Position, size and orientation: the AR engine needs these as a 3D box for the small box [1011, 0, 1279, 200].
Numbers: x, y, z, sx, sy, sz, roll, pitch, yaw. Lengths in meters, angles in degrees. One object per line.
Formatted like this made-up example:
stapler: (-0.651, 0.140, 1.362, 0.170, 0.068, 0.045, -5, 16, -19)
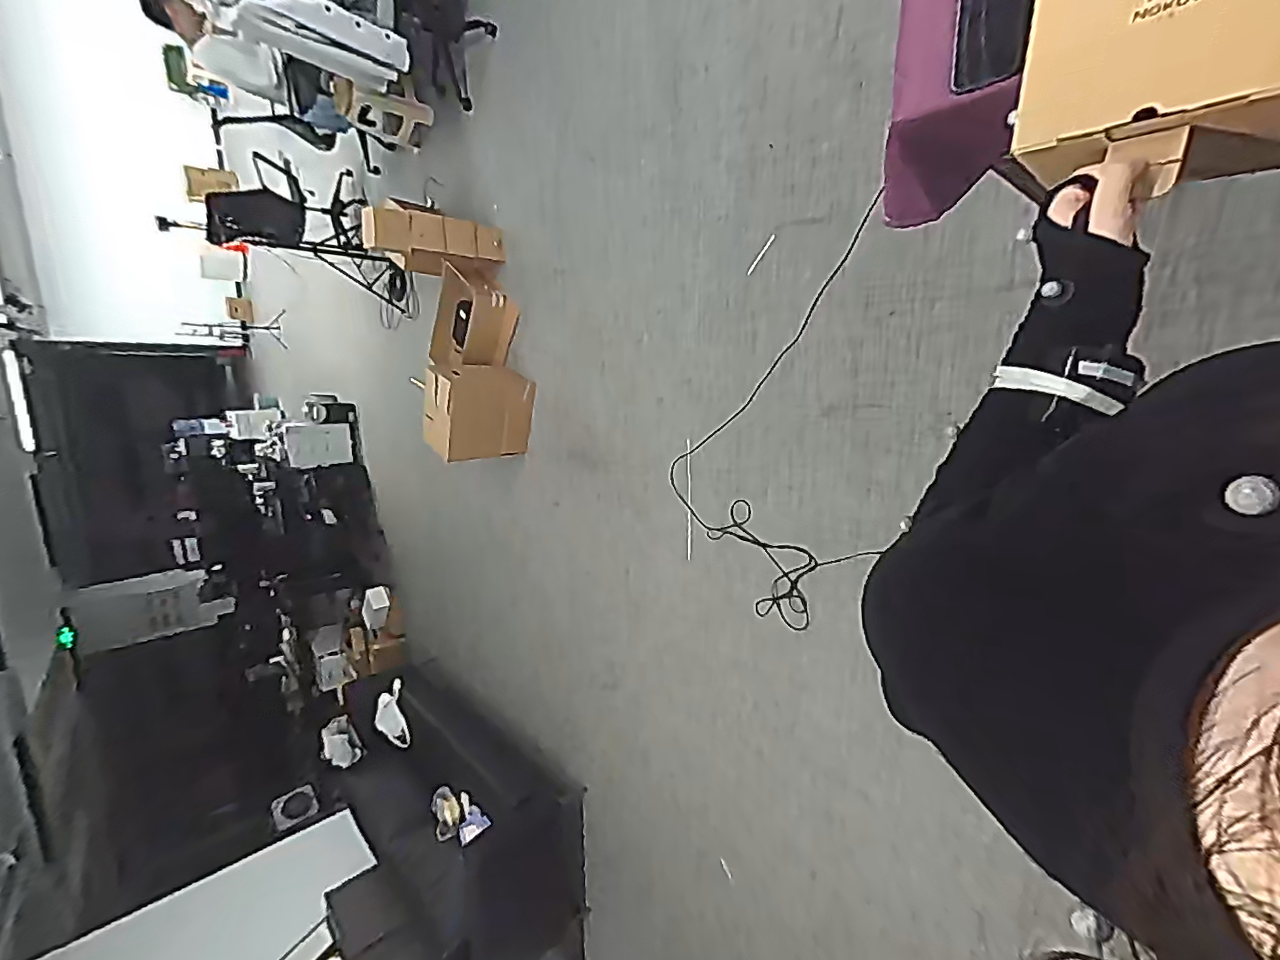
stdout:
small box: (0.432, -0.352, 0.434, 0.168, 0.176, 0.179, 15, 106, 47)
